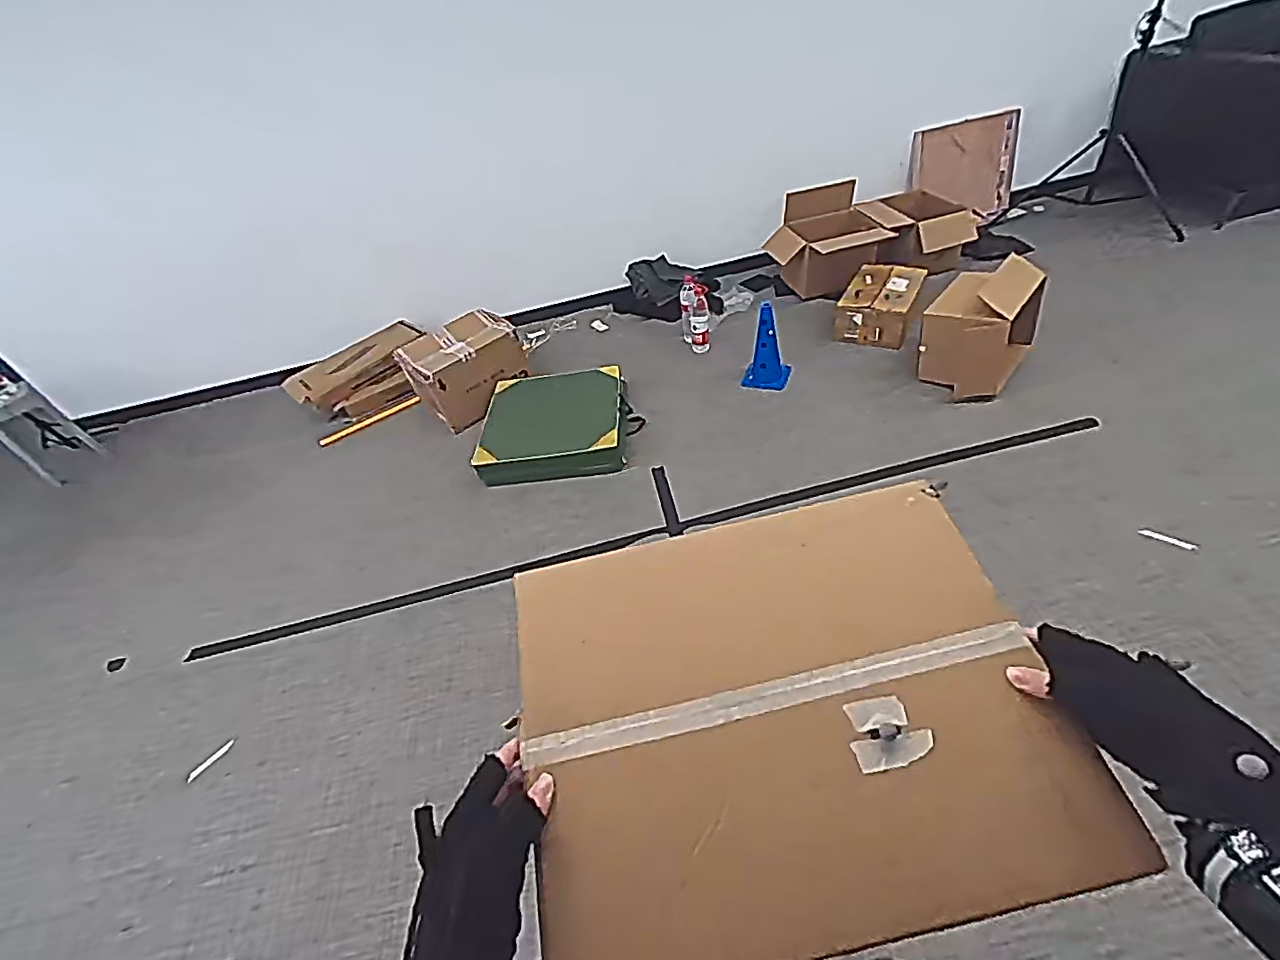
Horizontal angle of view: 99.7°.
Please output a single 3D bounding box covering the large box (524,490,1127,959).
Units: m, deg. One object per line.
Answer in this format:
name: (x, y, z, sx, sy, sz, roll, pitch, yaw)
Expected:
large box: (0.125, 0.261, 0.566, 0.408, 0.320, 0.320, -13, 56, -1)
